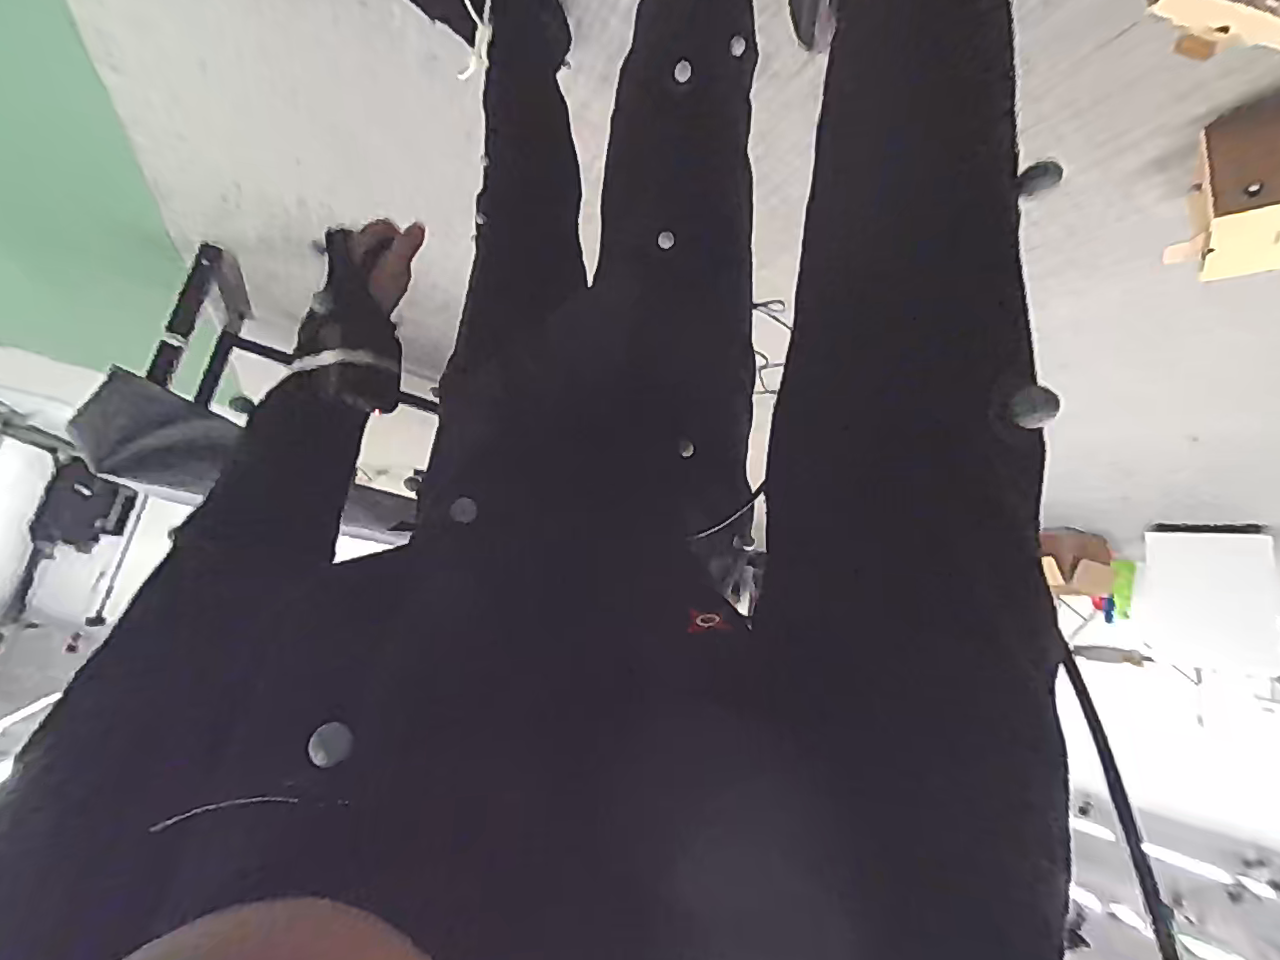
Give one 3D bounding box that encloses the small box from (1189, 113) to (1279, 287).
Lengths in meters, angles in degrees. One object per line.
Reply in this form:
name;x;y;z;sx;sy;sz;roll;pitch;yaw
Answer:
small box;0.941;-0.417;0.789;0.179;0.176;0.168;-1;163;40
